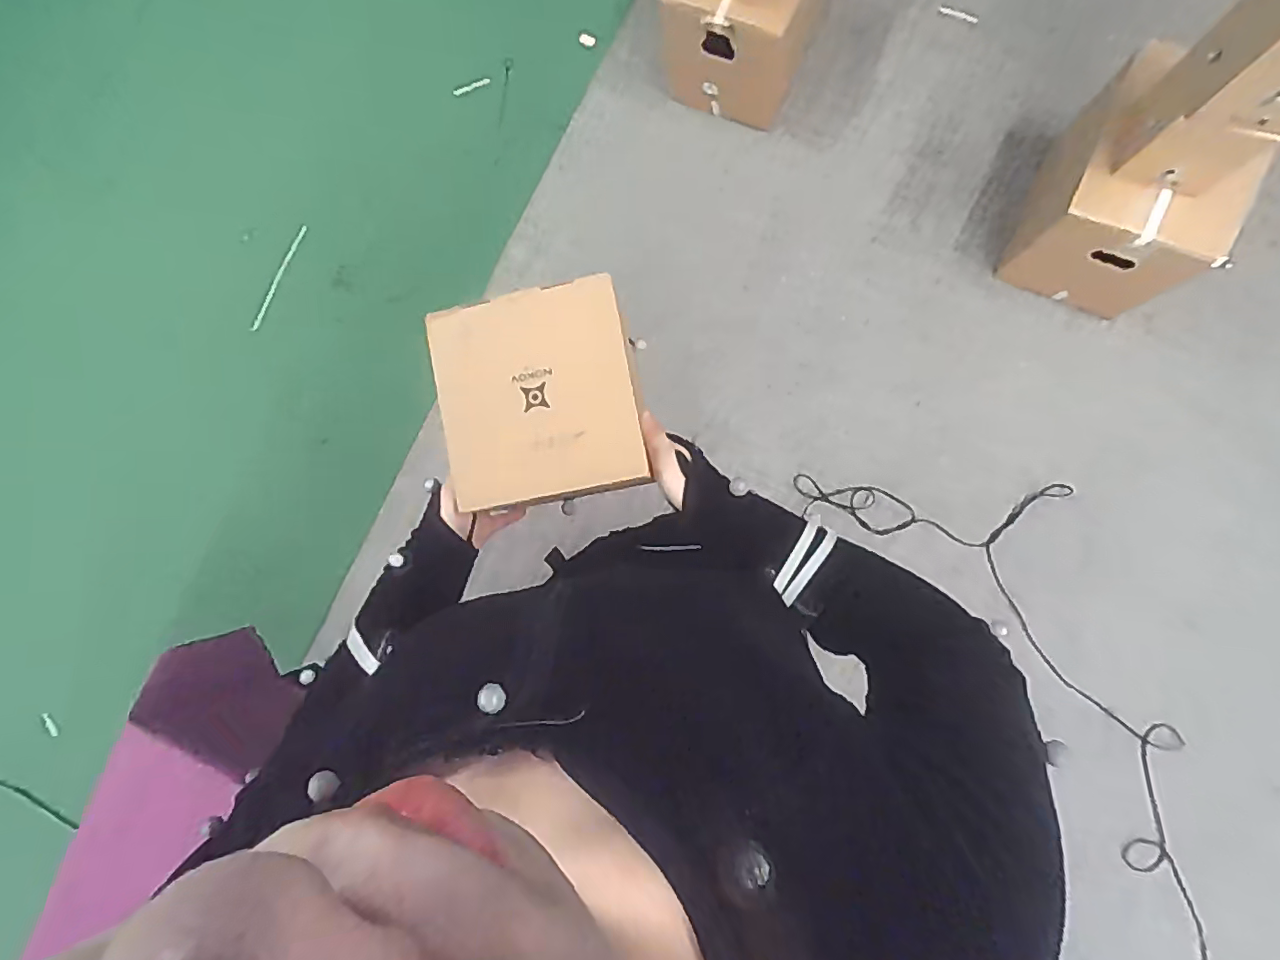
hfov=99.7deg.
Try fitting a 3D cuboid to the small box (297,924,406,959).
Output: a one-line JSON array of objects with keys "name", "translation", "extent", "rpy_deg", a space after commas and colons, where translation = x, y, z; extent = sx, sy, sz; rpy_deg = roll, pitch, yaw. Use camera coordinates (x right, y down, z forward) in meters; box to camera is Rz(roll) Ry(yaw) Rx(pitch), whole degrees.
[{"name": "small box", "translation": [-0.421, 0.752, 0.717], "extent": [0.179, 0.176, 0.168], "rpy_deg": [23, 91, 8]}]

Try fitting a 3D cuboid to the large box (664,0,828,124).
[{"name": "large box", "translation": [0.290, -1.241, 1.395], "extent": [0.320, 0.320, 0.408], "rpy_deg": [25, 89, 9]}]

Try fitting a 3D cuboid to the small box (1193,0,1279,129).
[{"name": "small box", "translation": [1.043, -0.697, 0.852], "extent": [0.168, 0.176, 0.179], "rpy_deg": [17, 90, 10]}]

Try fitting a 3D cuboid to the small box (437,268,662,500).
[{"name": "small box", "translation": [-0.074, -0.078, 0.534], "extent": [0.168, 0.176, 0.179], "rpy_deg": [-10, 88, 6]}]
